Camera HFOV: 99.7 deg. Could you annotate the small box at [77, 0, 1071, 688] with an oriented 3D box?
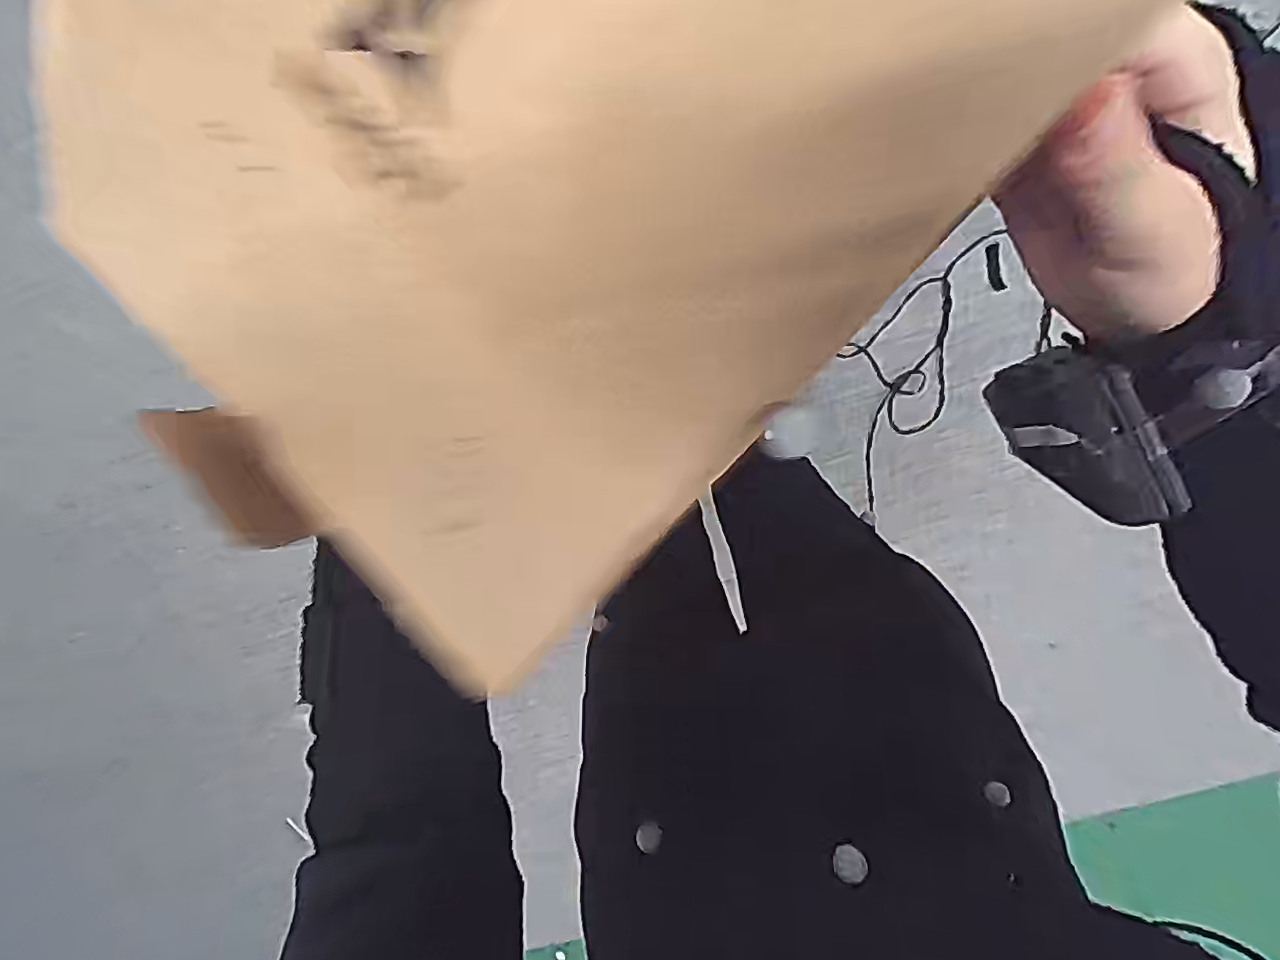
[{"bbox_3d":[-0.016,-0.082,0.167,0.168,0.176,0.179,45,120,8],"label":"small box"}]
